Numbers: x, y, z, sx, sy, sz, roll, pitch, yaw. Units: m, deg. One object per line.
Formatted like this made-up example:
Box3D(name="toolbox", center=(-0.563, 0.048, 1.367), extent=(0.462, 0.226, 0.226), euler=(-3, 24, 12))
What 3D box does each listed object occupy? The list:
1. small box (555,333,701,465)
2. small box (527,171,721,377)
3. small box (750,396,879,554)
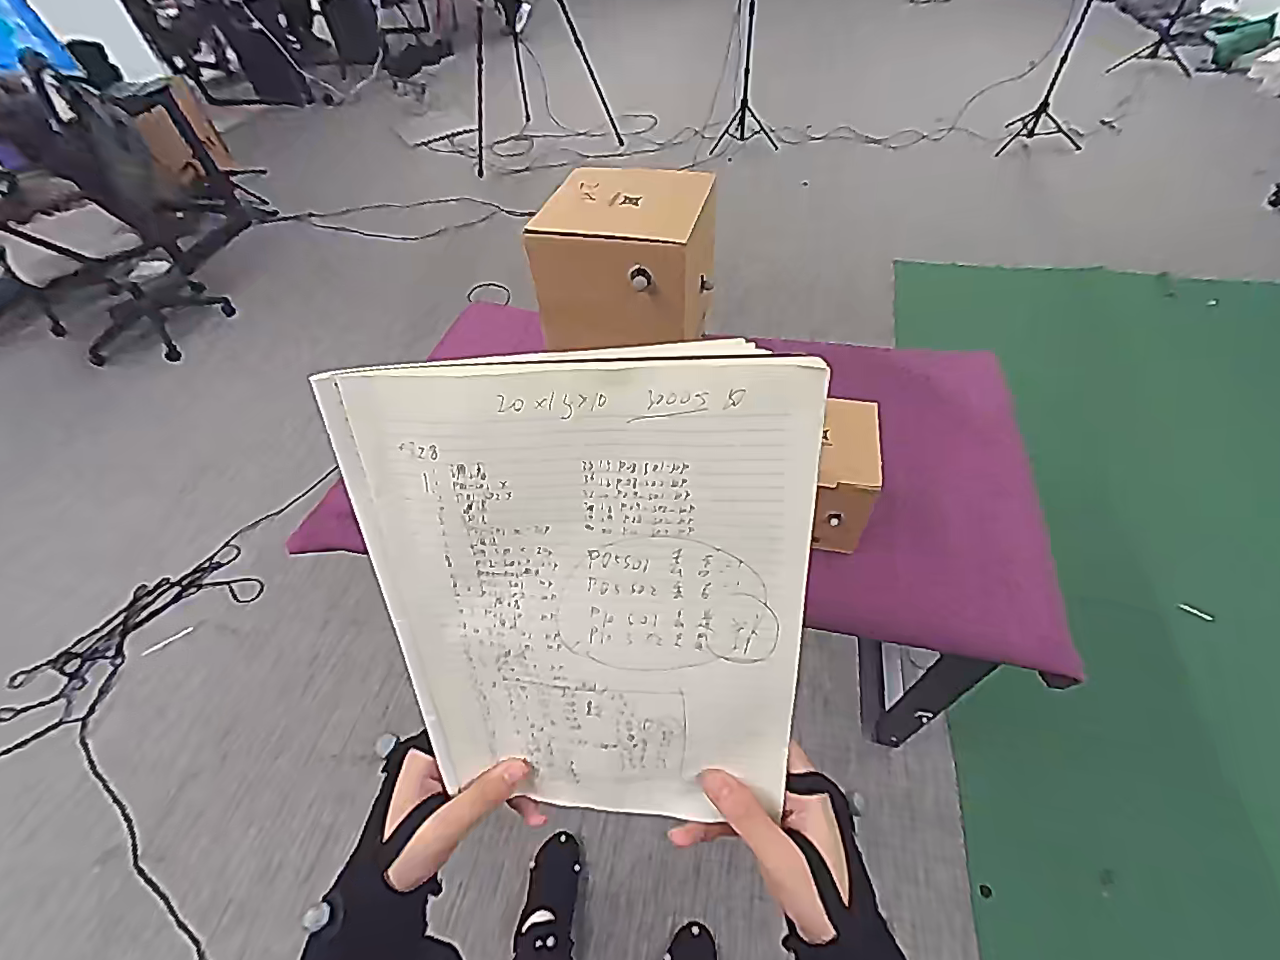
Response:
Box3D(name="small box", center=(-0.005, -0.143, 0.778), extent=(0.168, 0.176, 0.179), euler=(9, 50, 12))
Box3D(name="small box", center=(-0.007, -0.243, 0.646), extent=(0.179, 0.176, 0.168), euler=(10, 51, 13))
Box3D(name="small box", center=(0.270, -0.006, 0.856), extent=(0.168, 0.176, 0.179), euler=(9, 51, 11))
